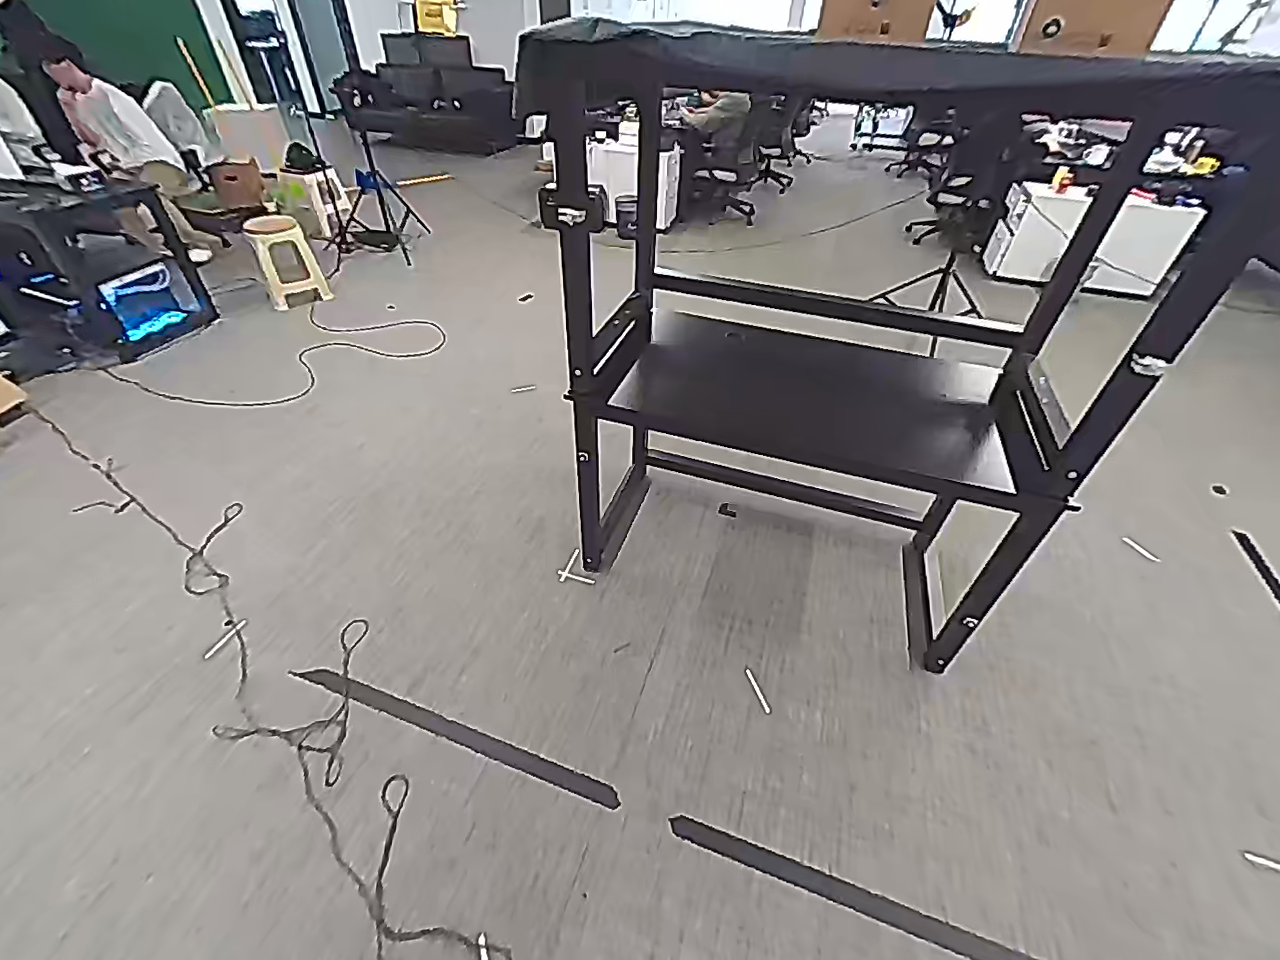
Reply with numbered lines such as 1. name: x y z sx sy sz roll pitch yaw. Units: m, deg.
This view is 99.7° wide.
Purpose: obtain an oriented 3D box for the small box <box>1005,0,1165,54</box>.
1. small box: 0.667 -0.733 0.791 0.168 0.176 0.179 17 41 16

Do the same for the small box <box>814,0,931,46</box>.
1. small box: 0.382 -0.801 0.853 0.168 0.176 0.179 14 41 14
